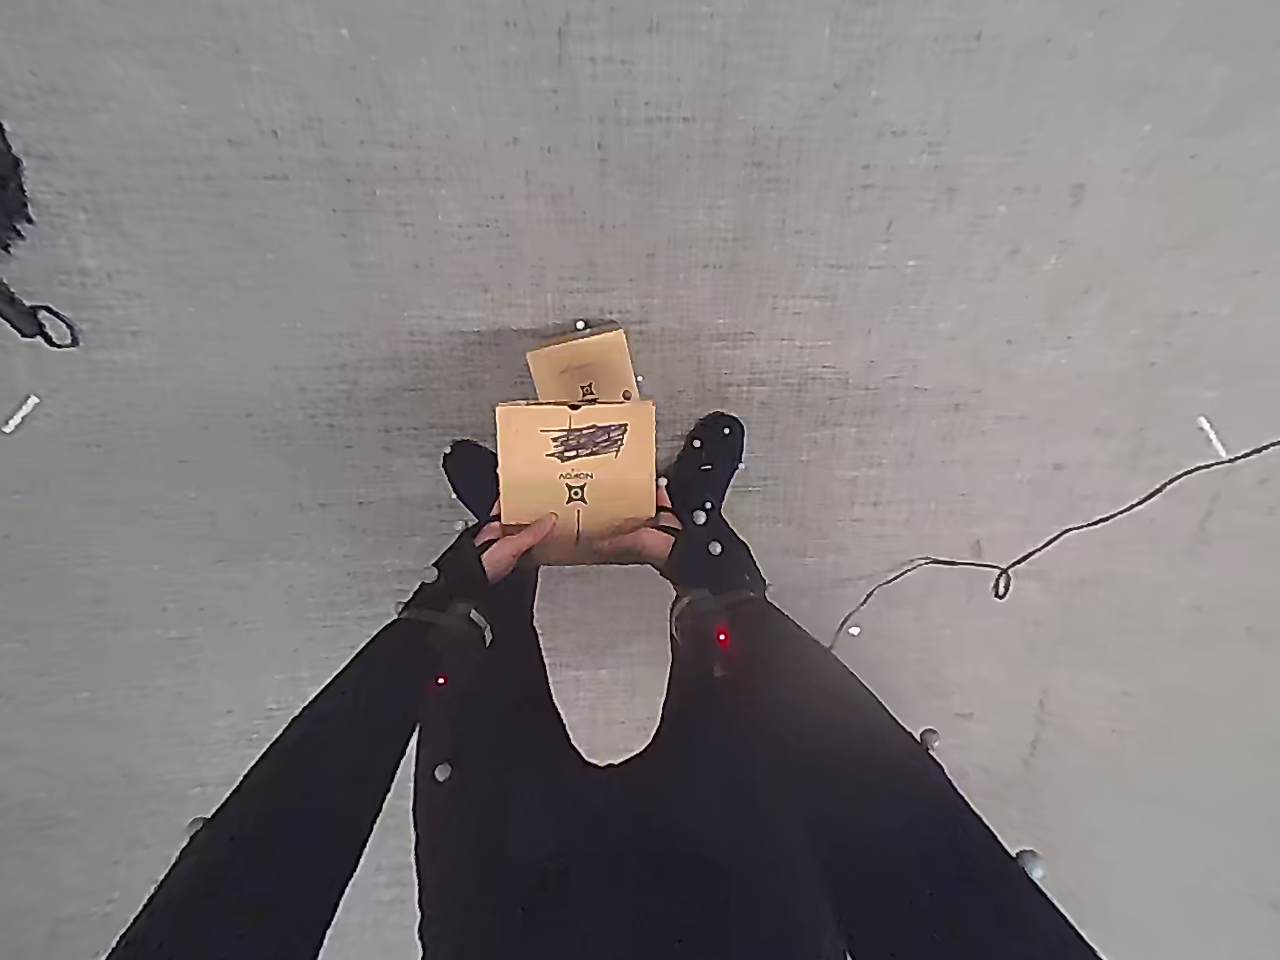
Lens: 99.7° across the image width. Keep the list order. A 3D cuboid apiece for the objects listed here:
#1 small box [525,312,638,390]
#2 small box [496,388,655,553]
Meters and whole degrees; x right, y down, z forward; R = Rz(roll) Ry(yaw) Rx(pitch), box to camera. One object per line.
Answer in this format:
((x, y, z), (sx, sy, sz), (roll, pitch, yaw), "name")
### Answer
((-0.094, -0.190, 0.968), (0.168, 0.176, 0.179), (-14, 112, 0), "small box")
((-0.066, -0.019, 0.651), (0.168, 0.176, 0.179), (-1, 100, 2), "small box")
